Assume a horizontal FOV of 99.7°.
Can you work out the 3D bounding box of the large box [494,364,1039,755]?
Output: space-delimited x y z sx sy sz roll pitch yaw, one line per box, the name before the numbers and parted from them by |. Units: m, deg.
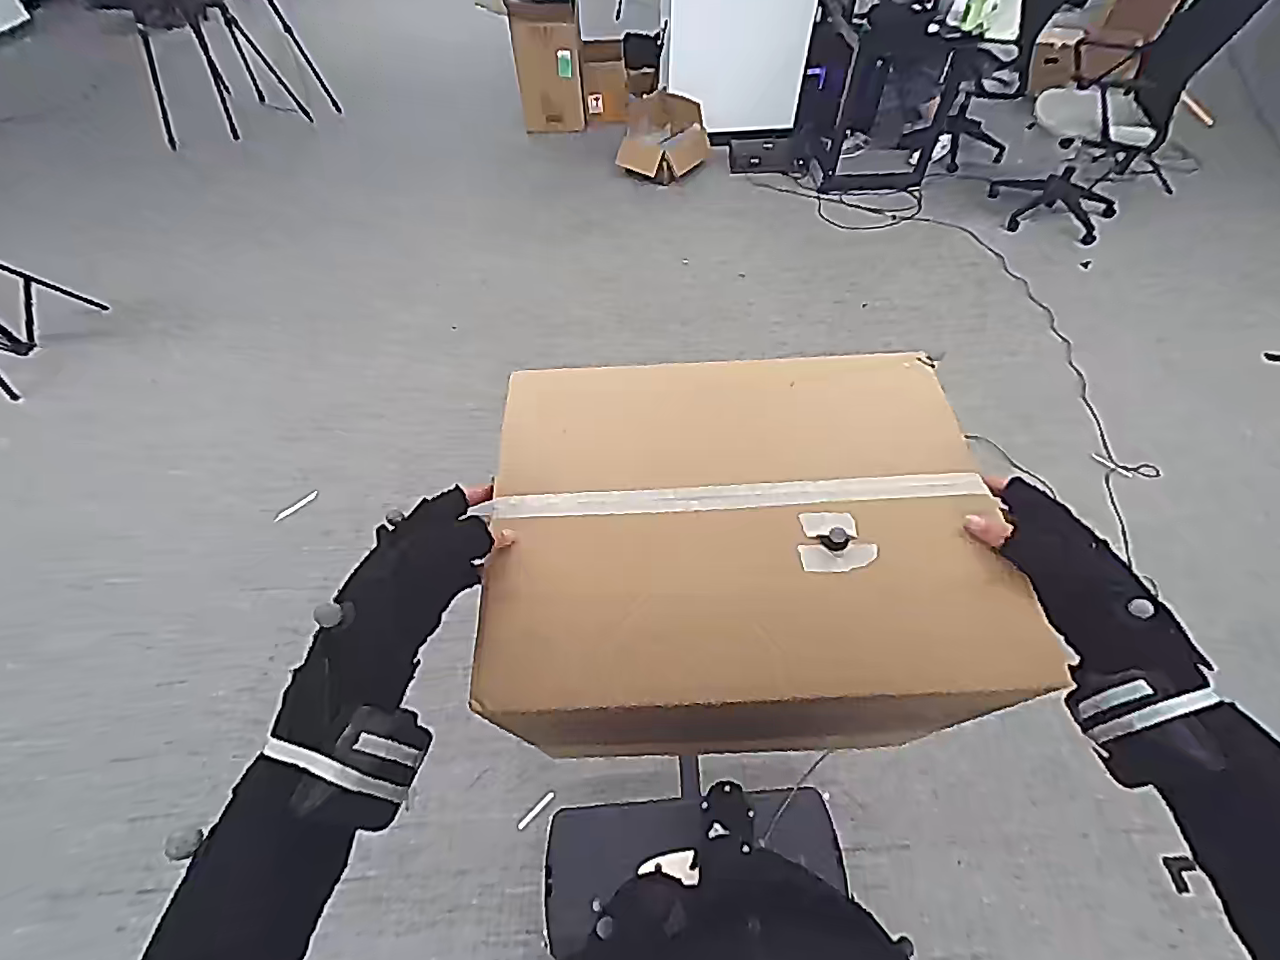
large box | 0.087 0.102 0.591 0.408 0.320 0.320 -3 58 0
